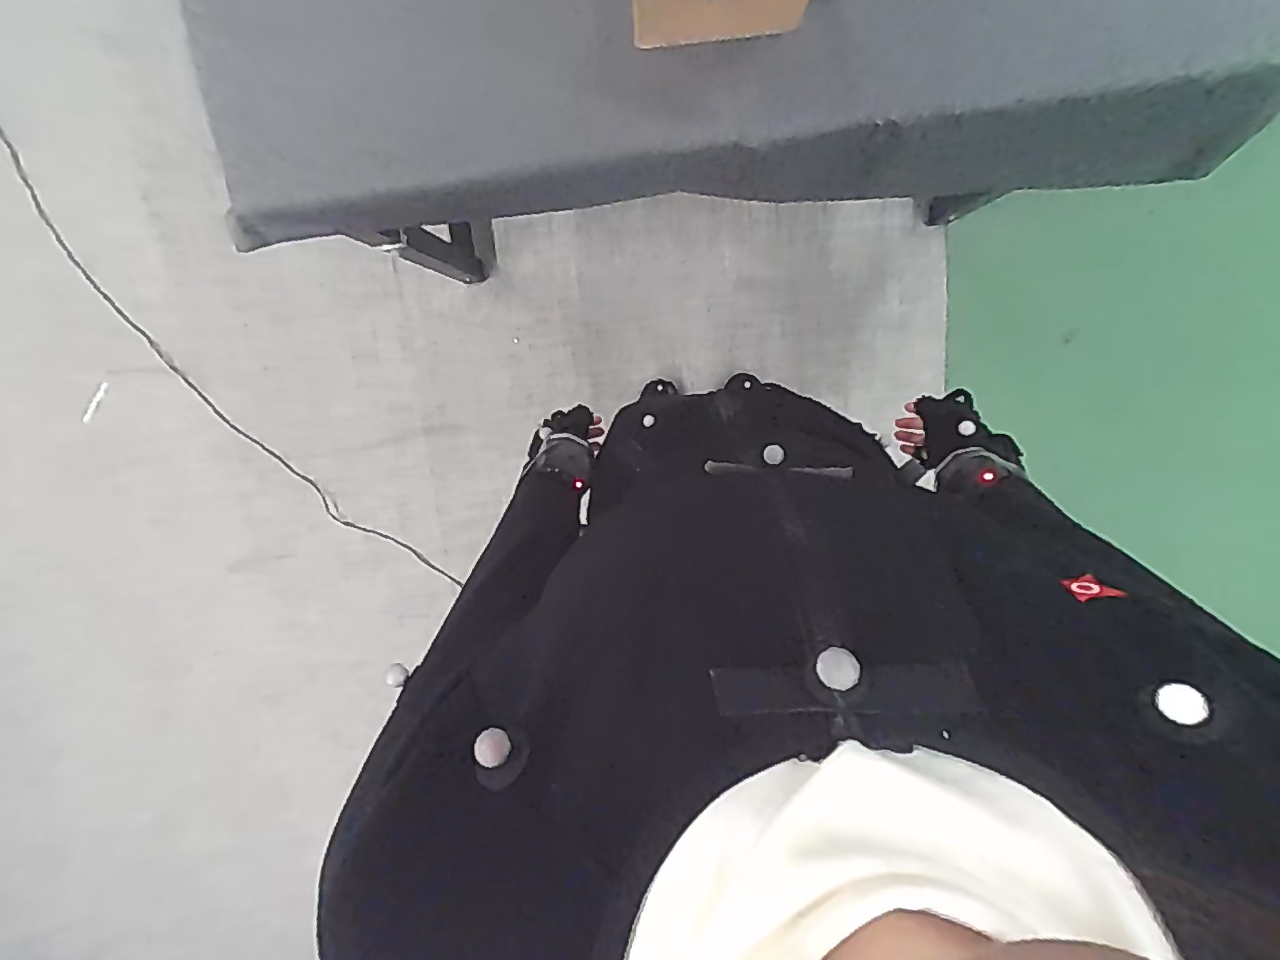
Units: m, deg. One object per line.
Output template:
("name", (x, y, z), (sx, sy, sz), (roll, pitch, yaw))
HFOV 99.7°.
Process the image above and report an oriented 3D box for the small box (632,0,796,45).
("small box", (0.070, -0.549, 0.502), (0.179, 0.176, 0.168), (-7, 100, 3))
